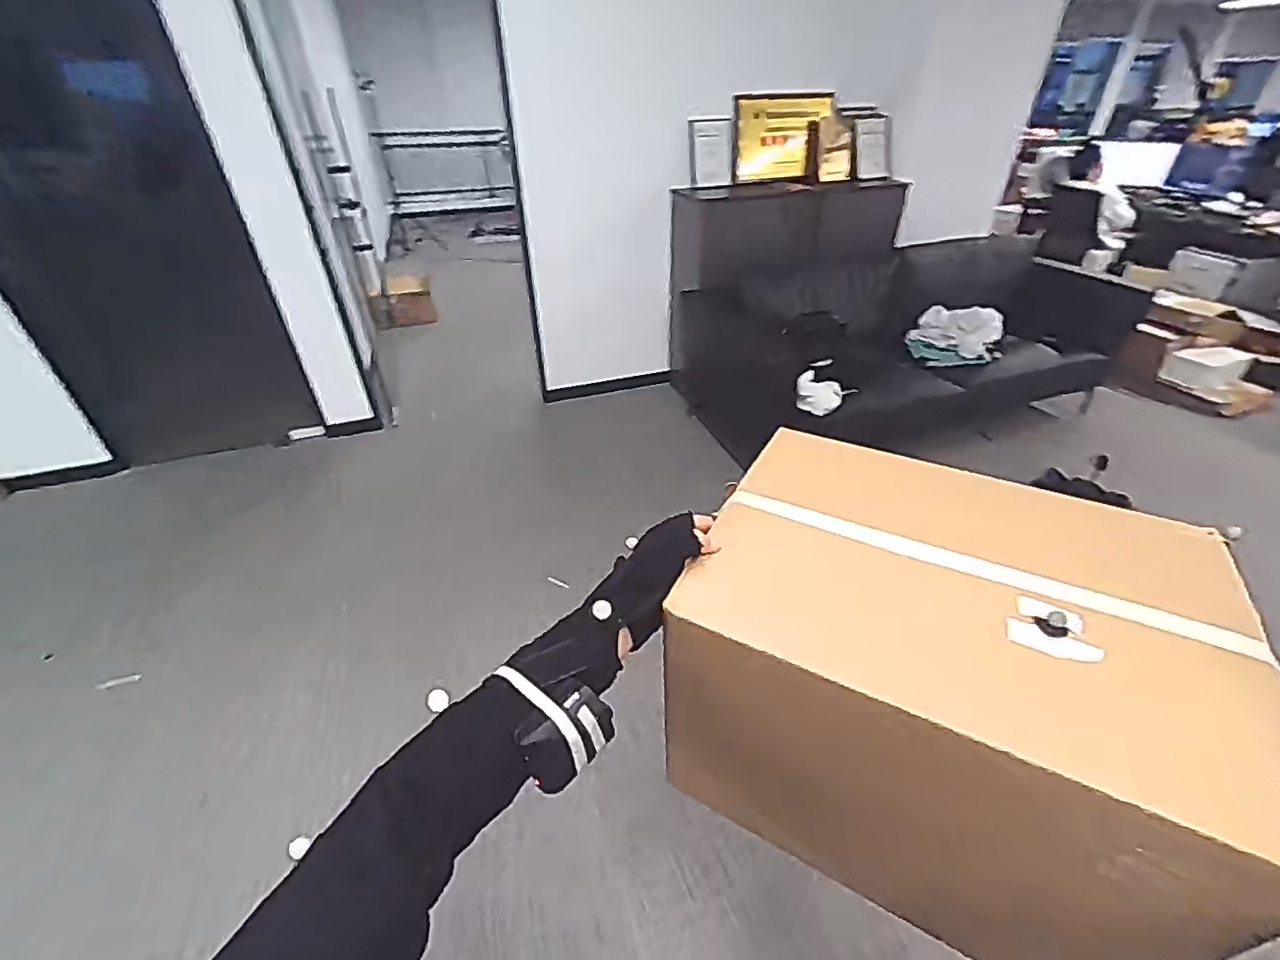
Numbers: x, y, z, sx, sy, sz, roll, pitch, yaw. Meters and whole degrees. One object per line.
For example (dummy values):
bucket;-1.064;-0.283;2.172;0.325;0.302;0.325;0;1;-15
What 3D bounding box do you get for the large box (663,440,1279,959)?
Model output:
large box;0.266;0.201;0.566;0.408;0.320;0.320;17;41;23
